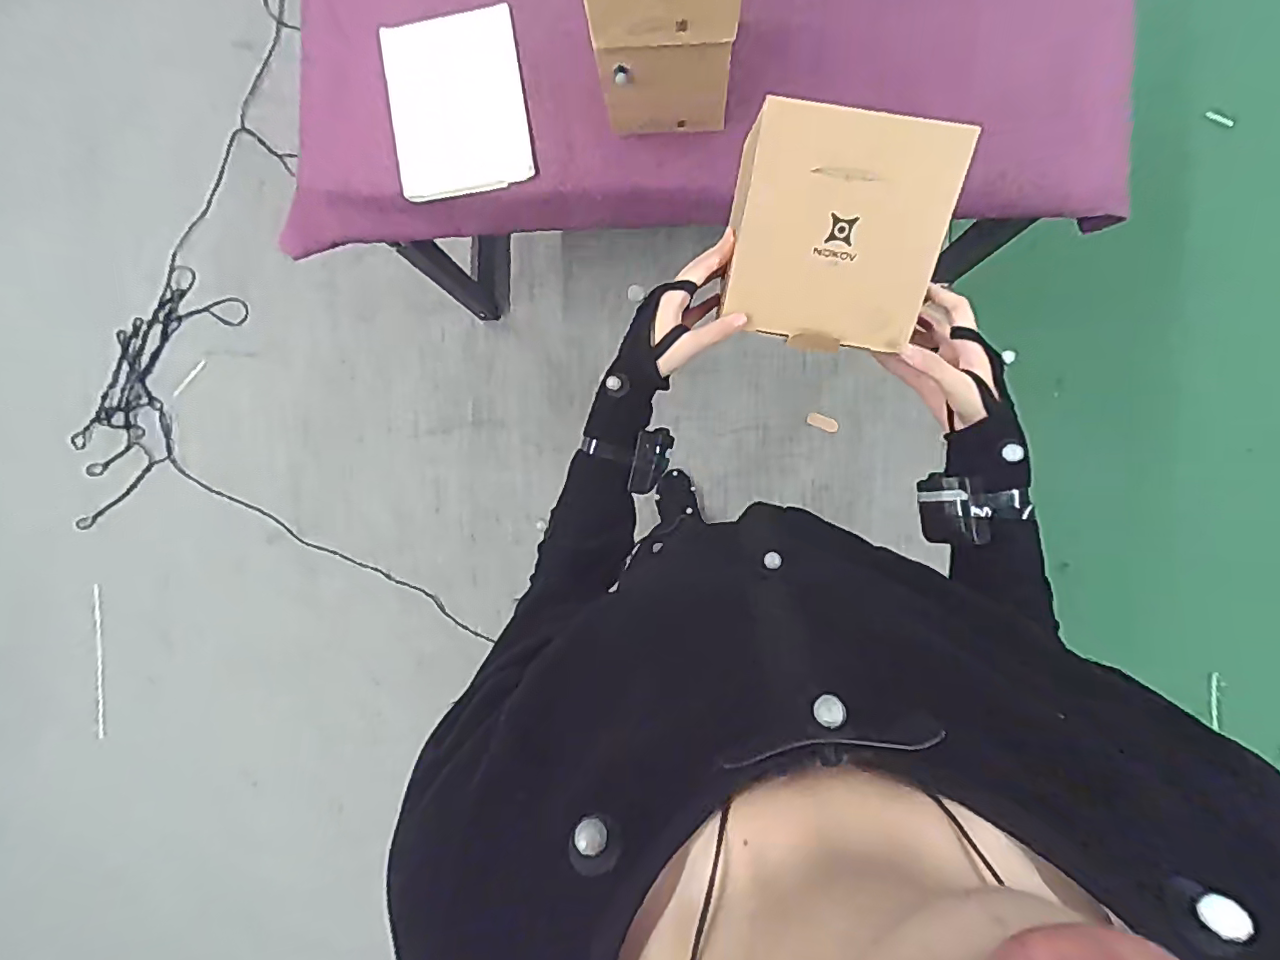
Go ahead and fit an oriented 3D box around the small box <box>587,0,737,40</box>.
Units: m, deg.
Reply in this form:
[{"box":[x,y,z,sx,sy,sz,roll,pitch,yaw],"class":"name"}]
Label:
[{"box":[0.022,-0.595,0.553,0.168,0.176,0.179,1,88,4],"class":"small box"}]
